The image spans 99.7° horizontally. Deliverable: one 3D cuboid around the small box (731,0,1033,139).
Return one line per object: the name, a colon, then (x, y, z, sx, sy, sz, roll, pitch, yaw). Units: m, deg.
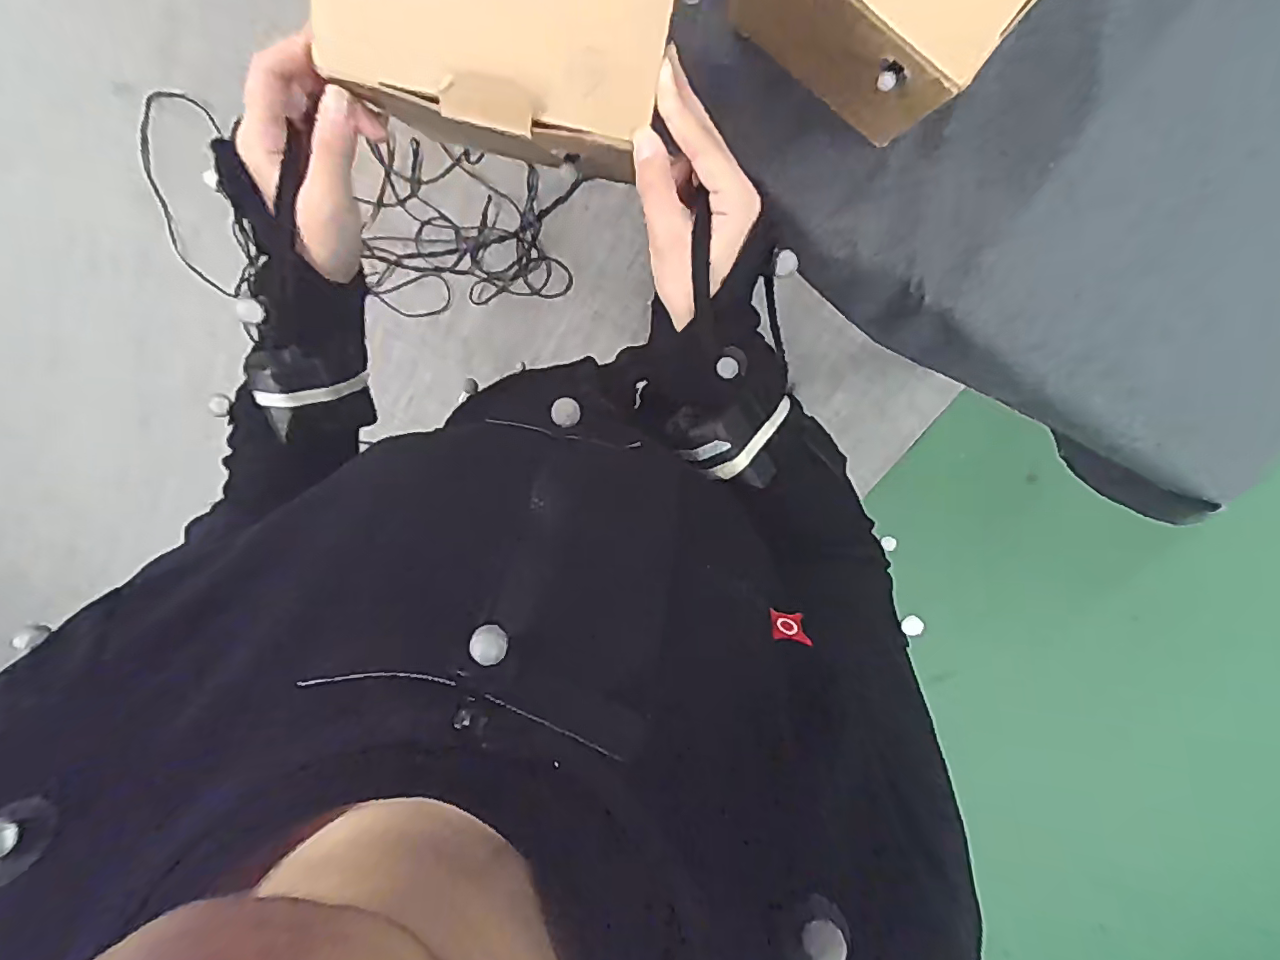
small box: (0.178, -0.372, 0.369, 0.179, 0.176, 0.168, 33, 111, -8)

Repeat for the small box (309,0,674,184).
small box: (-0.063, -0.286, 0.308, 0.168, 0.176, 0.179, 9, 111, -6)
